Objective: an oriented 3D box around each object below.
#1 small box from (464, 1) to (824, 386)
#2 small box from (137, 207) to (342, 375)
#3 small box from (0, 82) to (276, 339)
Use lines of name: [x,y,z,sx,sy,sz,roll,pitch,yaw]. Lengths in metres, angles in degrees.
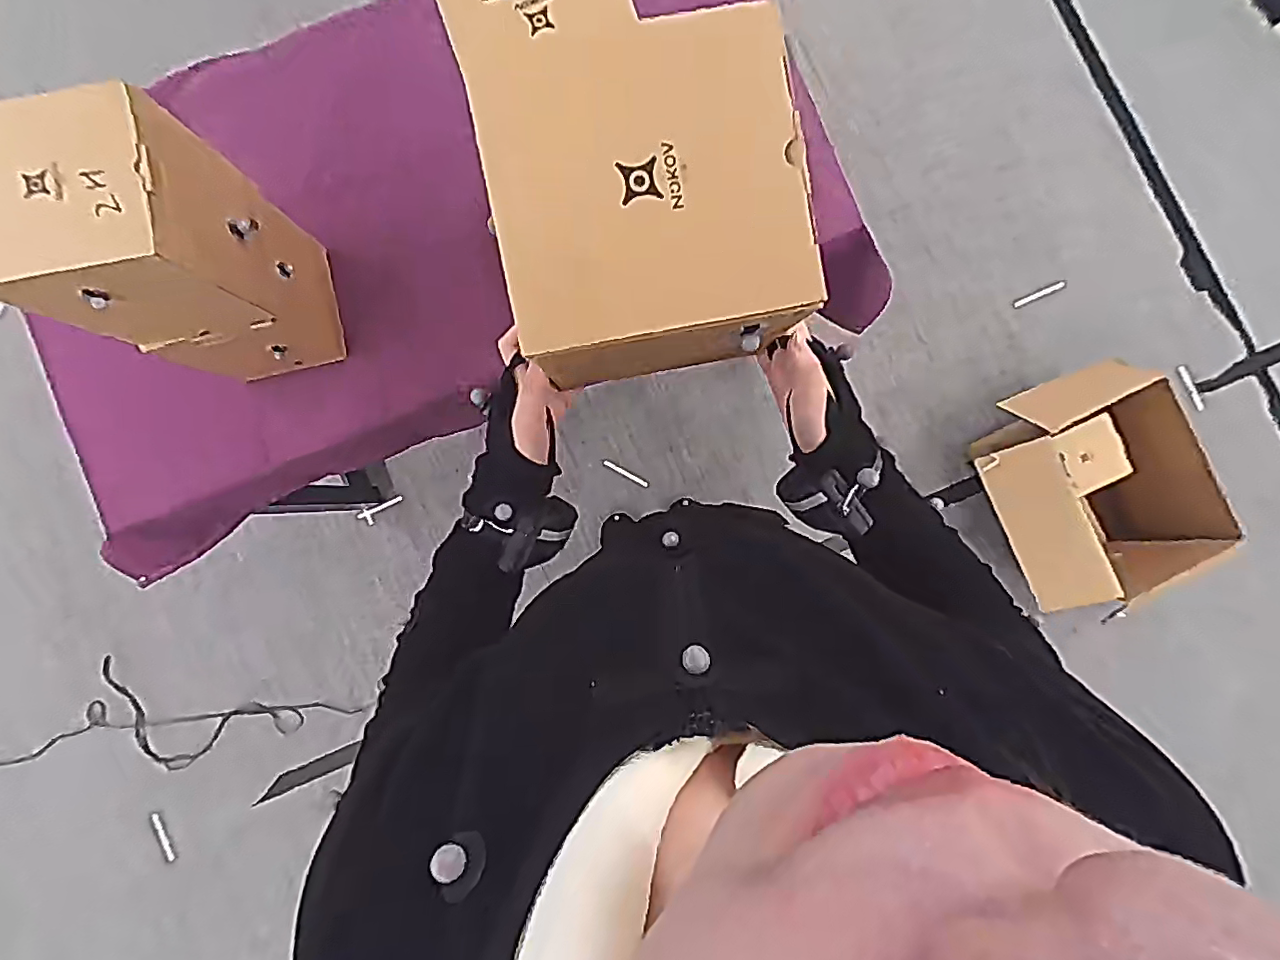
small box: [0.001,-0.168,0.375,0.179,0.176,0.168,-11,94,-2]
small box: [-0.531,-0.249,0.724,0.168,0.176,0.179,-12,88,-1]
small box: [-0.527,-0.258,0.561,0.179,0.176,0.168,-11,89,-1]
